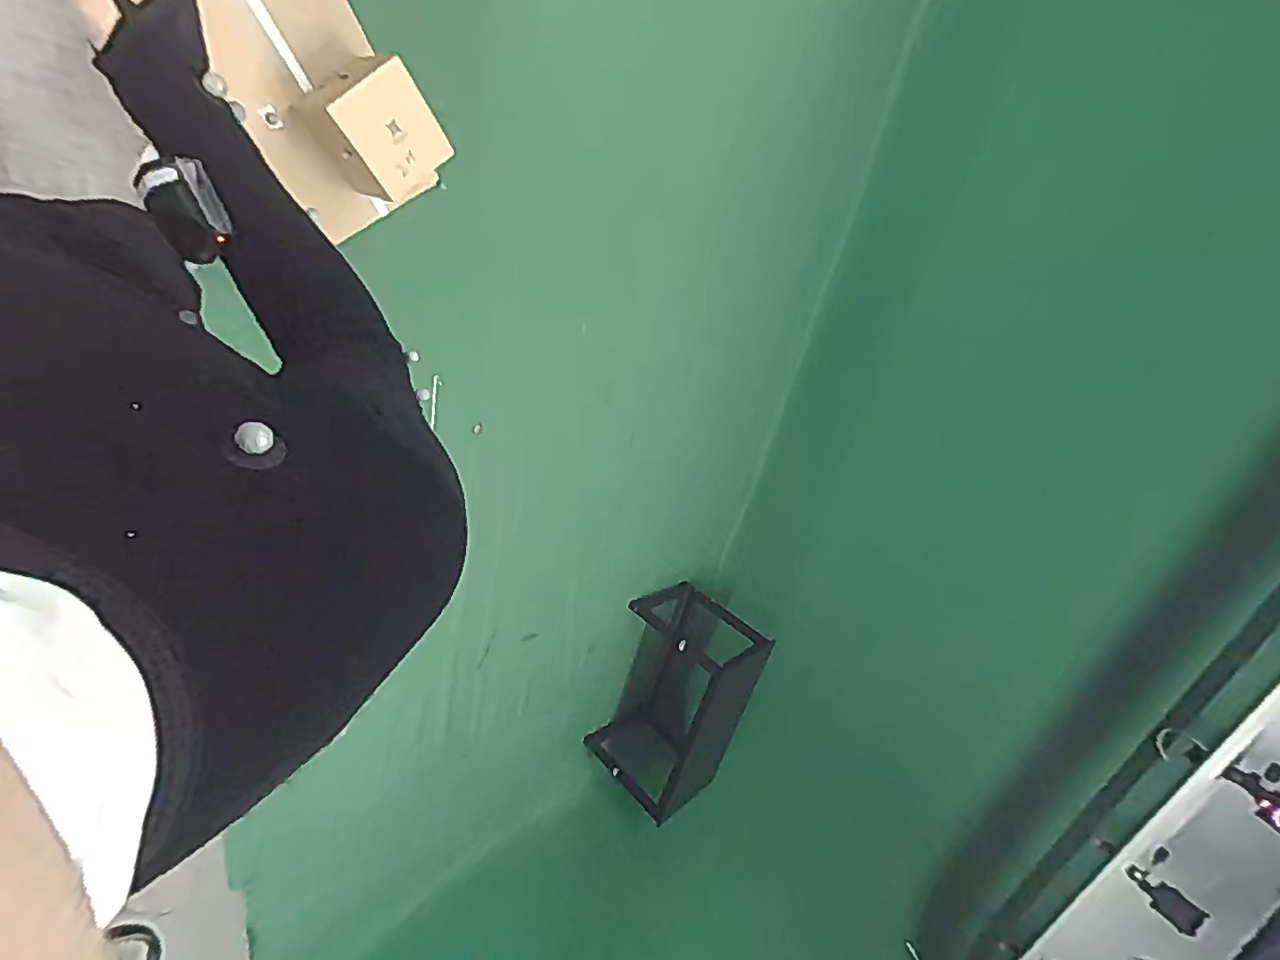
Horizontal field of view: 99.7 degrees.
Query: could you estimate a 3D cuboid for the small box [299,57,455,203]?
[{"bbox_3d":[-0.502,-0.665,1.032,0.168,0.176,0.179,-50,145,-14],"label":"small box"}]
